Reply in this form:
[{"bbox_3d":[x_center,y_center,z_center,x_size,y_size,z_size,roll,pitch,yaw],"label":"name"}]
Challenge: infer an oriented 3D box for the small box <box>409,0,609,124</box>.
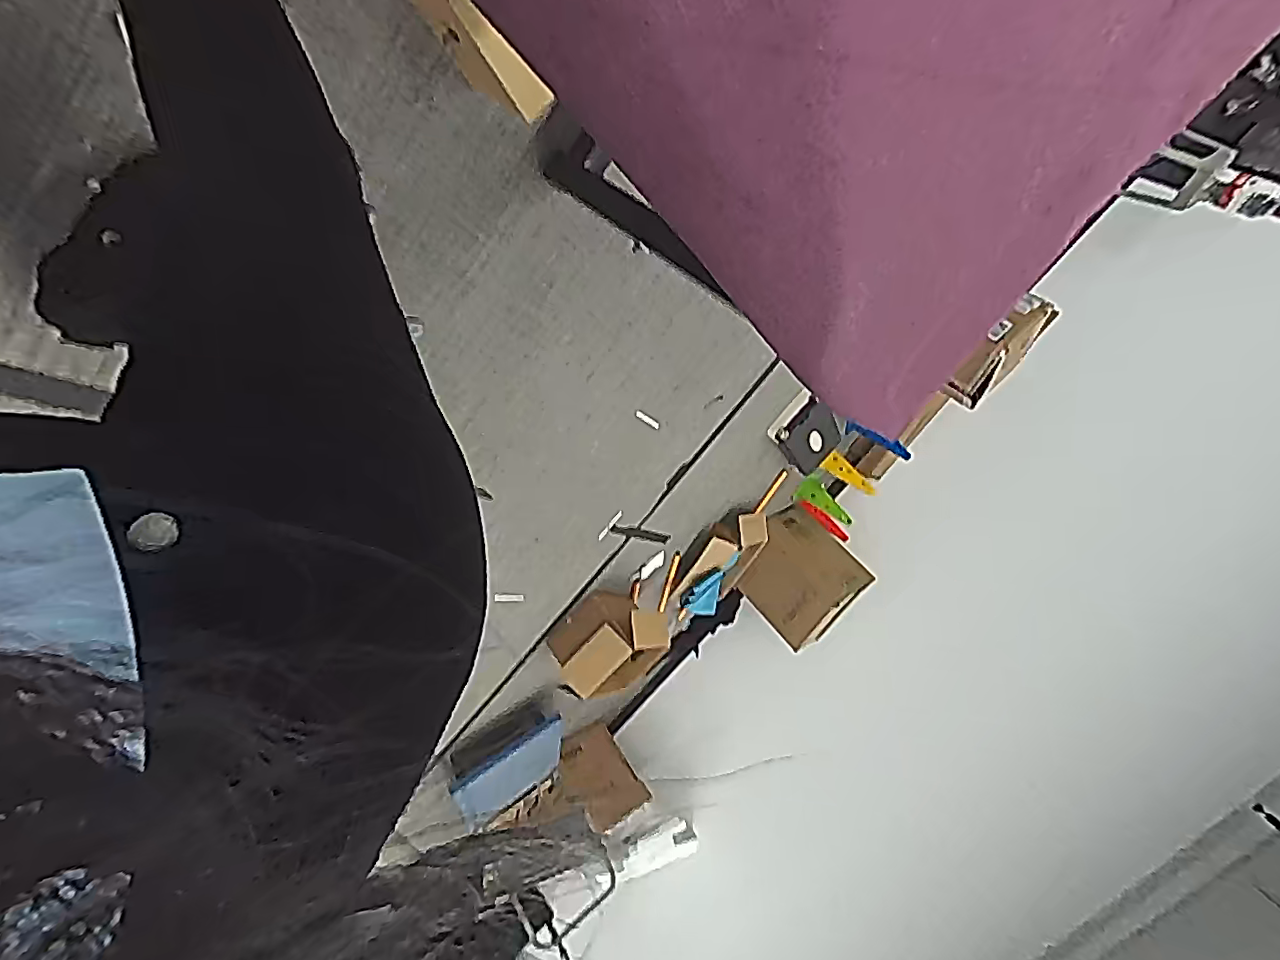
[{"bbox_3d":[-0.179,-0.624,0.708,0.179,0.176,0.168,-47,152,3],"label":"small box"}]
